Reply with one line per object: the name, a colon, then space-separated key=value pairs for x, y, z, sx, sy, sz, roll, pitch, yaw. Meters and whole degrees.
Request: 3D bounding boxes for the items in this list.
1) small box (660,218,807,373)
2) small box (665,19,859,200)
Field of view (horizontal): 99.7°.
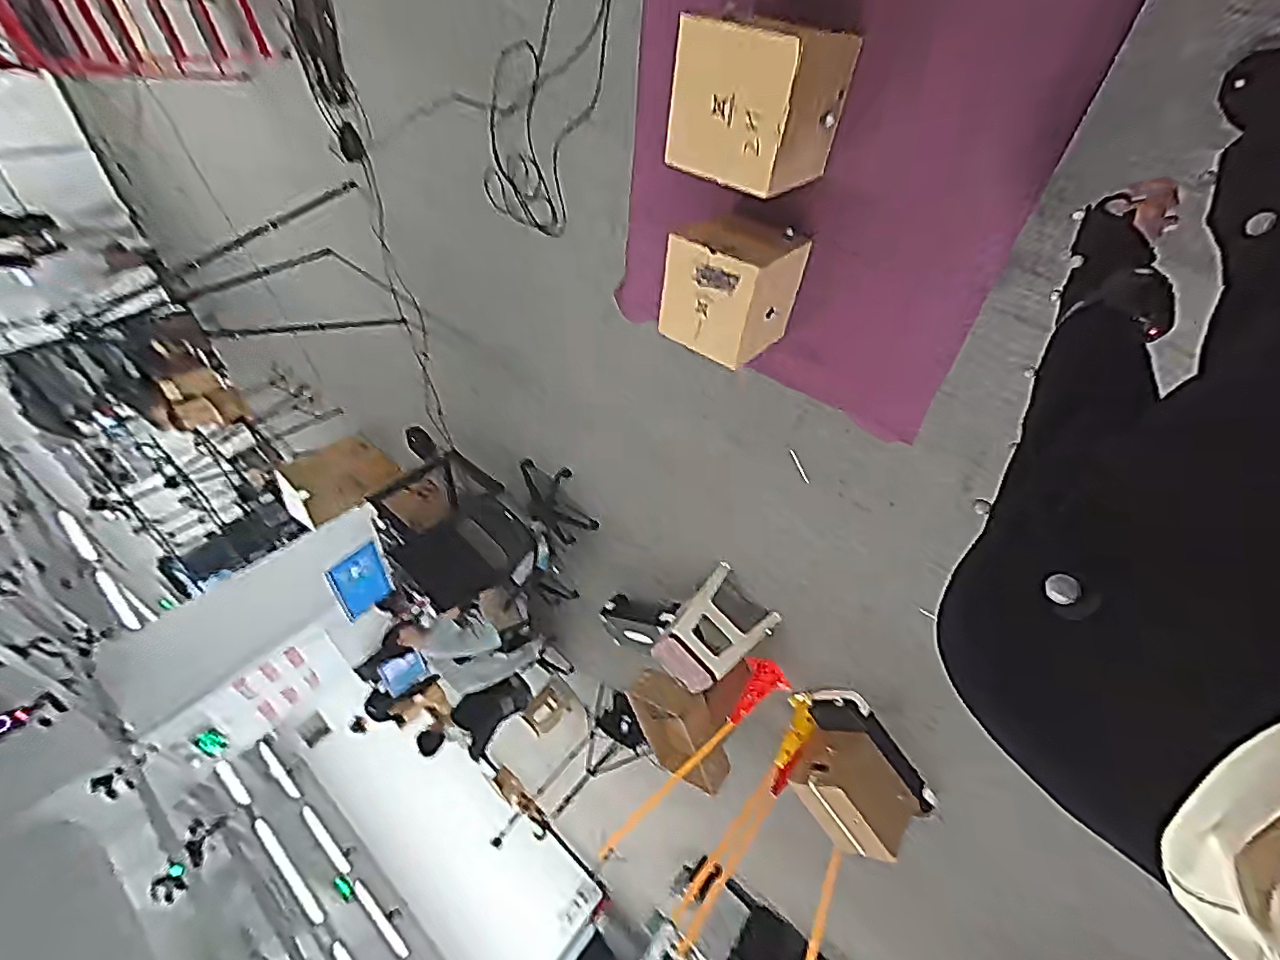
small box: x=0.157 y=-0.316 z=0.907 sx=0.168 sy=0.176 sz=0.179 roll=33 pitch=141 yaw=24
small box: x=0.161 y=-0.508 z=0.737 sx=0.179 sy=0.176 sz=0.168 roll=33 pitch=141 yaw=23
